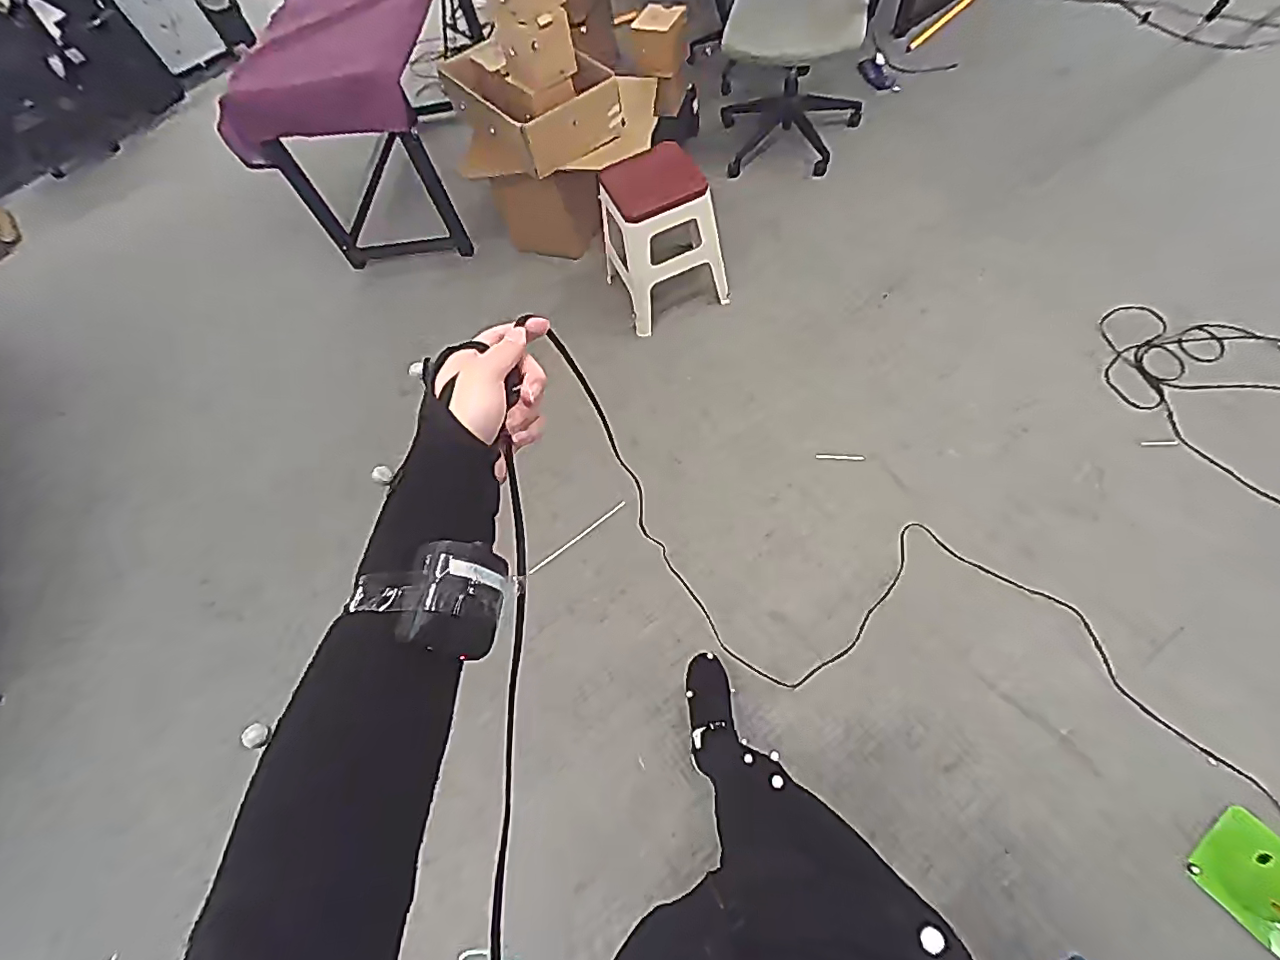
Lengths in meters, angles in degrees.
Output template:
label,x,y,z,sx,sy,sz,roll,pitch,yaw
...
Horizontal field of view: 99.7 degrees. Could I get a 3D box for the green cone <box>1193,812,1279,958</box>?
label,x,y,z,sx,sy,sz,roll,pitch,yaw
green cone,1.251,0.744,0.947,0.202,0.368,0.200,-38,63,-12
